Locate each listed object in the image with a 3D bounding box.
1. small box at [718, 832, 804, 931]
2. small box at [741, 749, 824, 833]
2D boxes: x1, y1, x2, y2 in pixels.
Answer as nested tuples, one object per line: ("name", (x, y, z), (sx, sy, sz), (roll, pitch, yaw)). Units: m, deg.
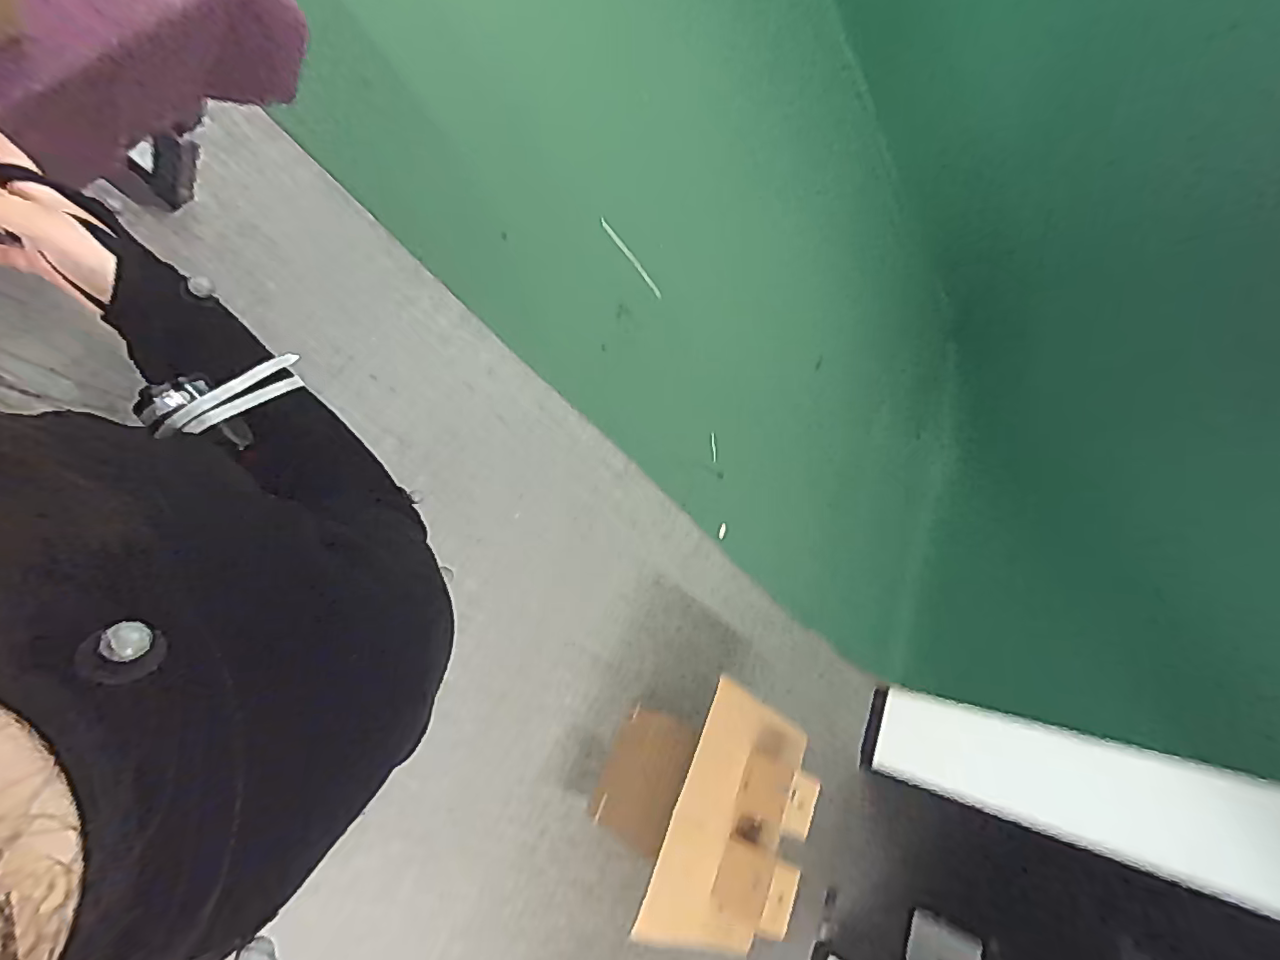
("small box", (0.361, 1.196, 1.619), (0.168, 0.176, 0.179), (45, 60, -32))
("small box", (0.448, 0.972, 1.699), (0.179, 0.176, 0.168), (41, 63, -35))
